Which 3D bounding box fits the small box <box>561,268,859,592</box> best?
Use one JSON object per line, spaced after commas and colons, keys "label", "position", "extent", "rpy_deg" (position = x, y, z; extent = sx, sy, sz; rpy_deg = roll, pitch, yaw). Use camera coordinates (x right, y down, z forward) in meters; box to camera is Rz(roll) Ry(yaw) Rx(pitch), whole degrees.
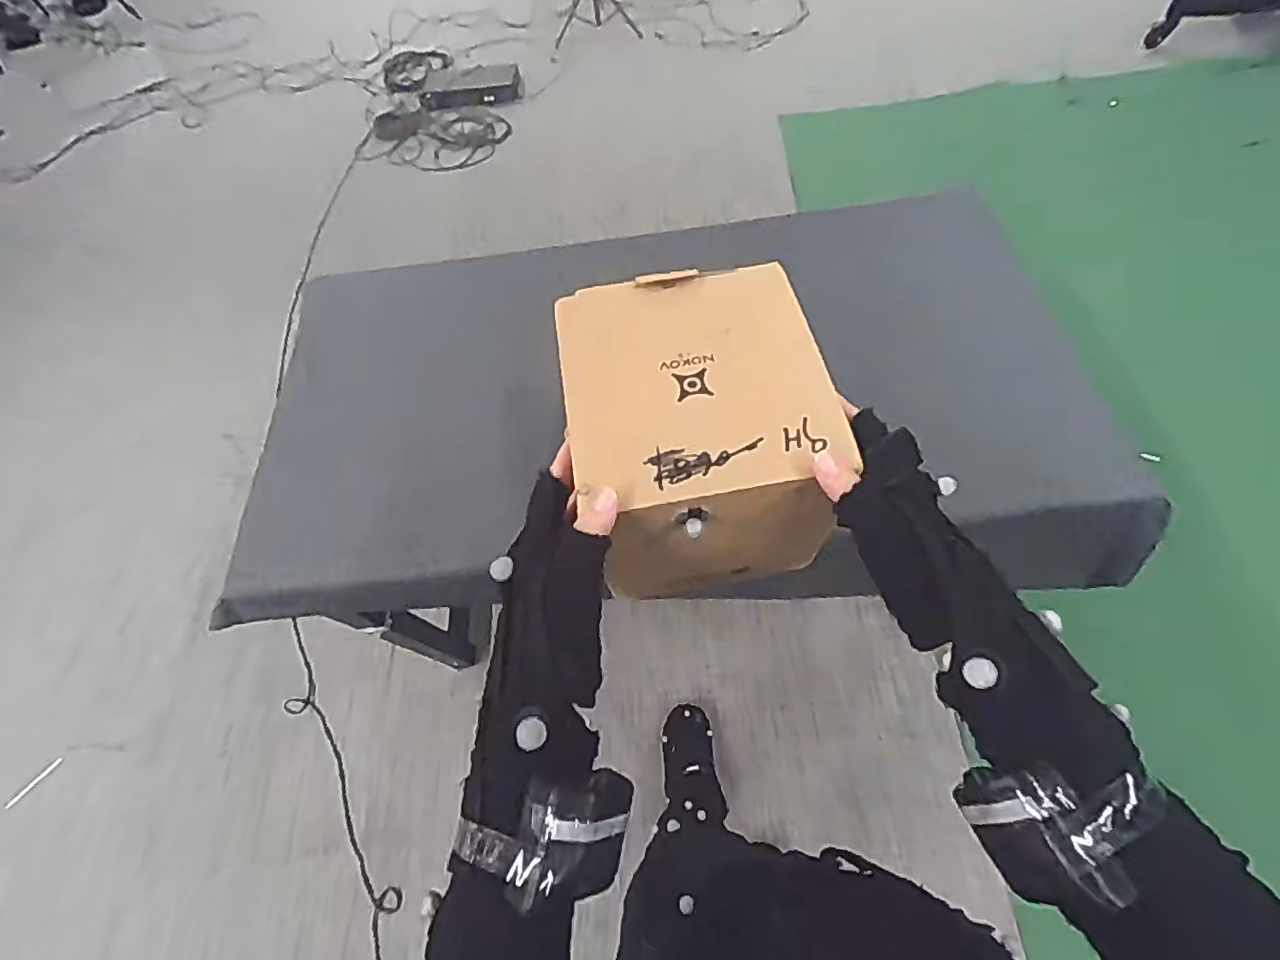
{"label": "small box", "position": [0.040, -0.031, 0.429], "extent": [0.168, 0.176, 0.179], "rpy_deg": [-12, 61, -2]}
